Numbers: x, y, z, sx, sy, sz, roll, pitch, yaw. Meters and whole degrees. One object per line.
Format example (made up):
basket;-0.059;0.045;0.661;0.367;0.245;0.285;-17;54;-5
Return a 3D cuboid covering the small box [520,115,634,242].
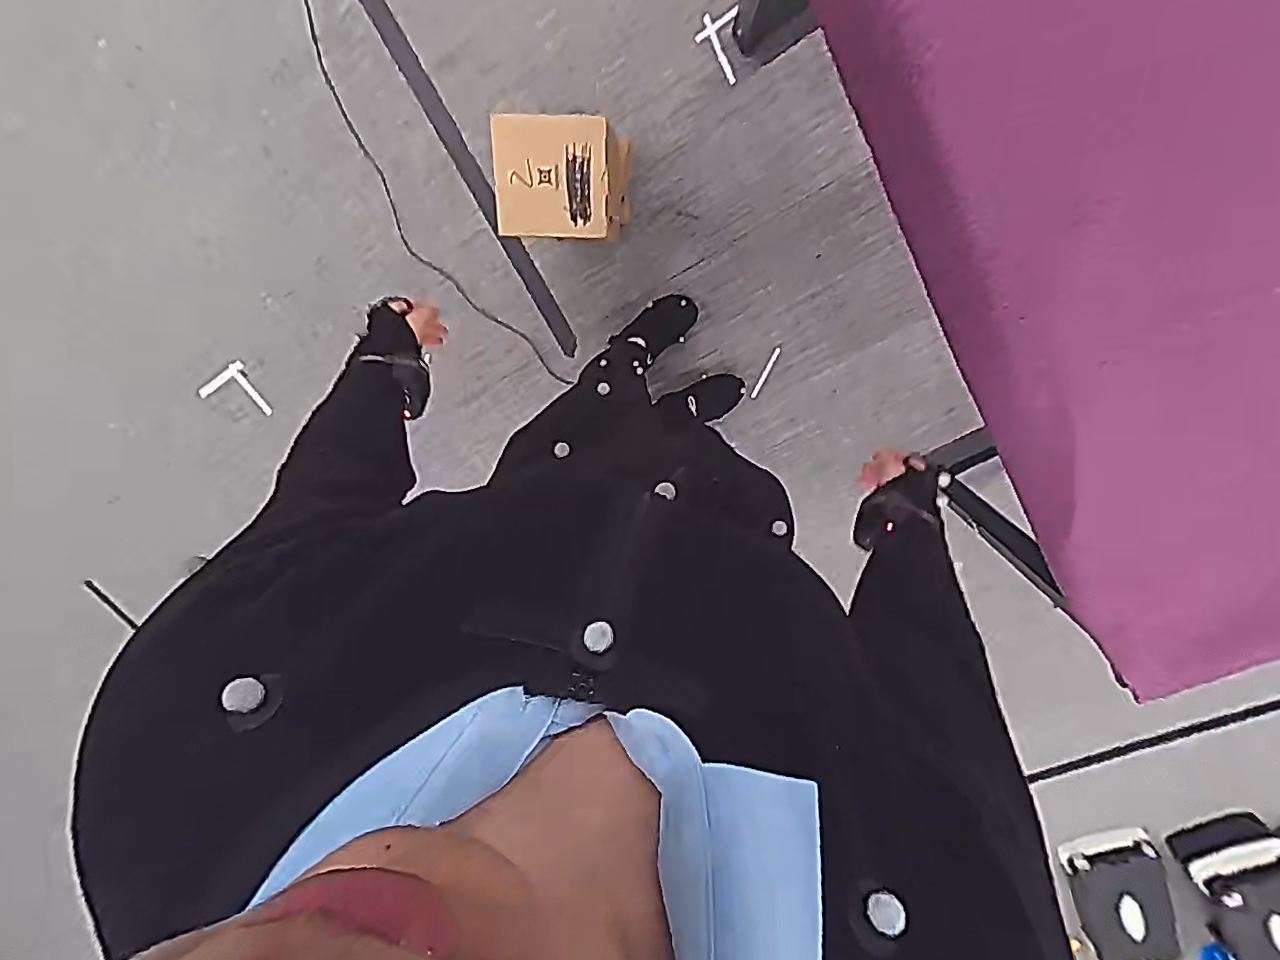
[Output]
small box;-0.114;-0.567;1.038;0.179;0.176;0.168;14;112;-3
